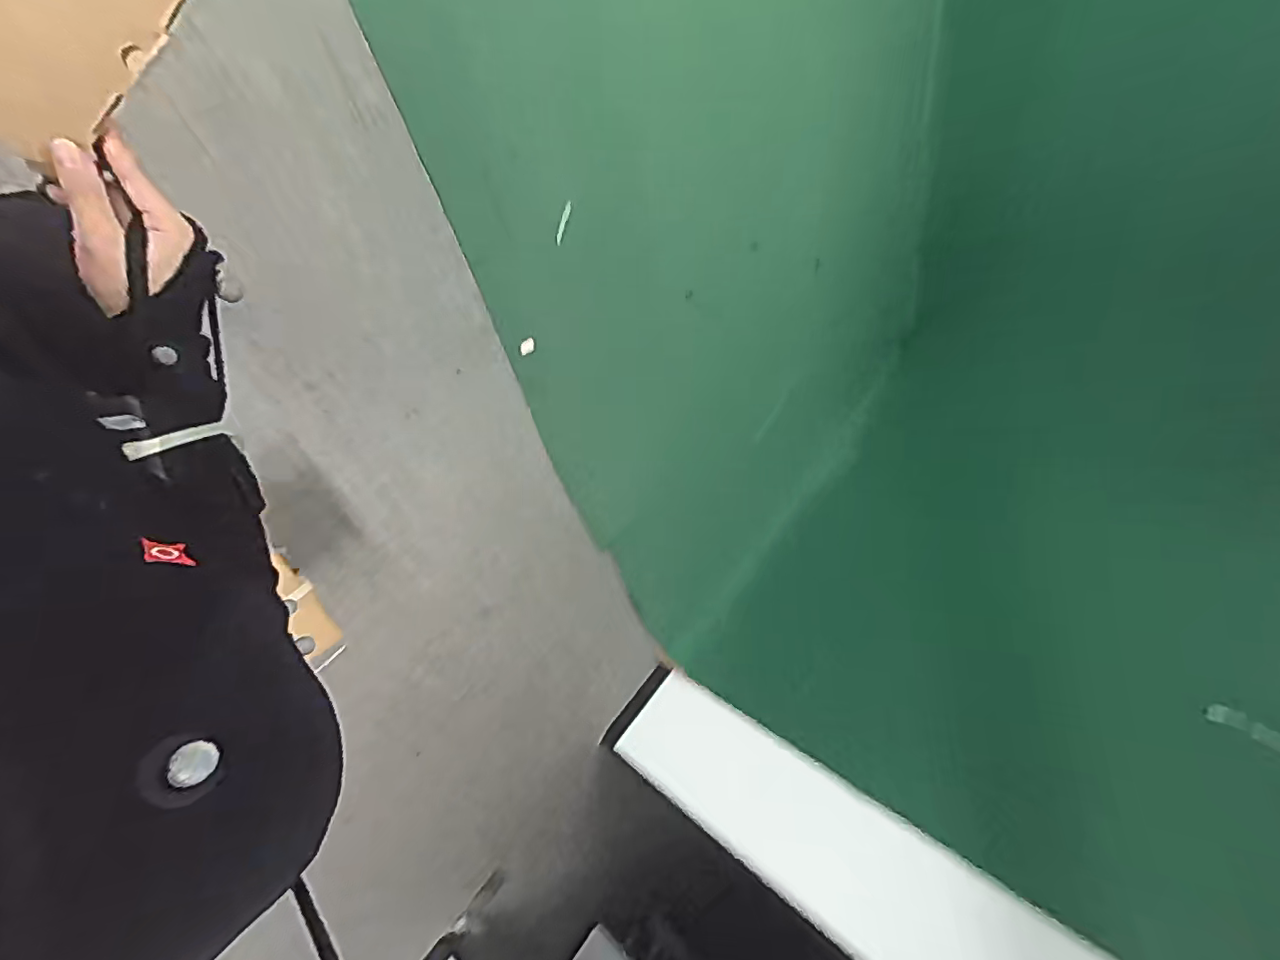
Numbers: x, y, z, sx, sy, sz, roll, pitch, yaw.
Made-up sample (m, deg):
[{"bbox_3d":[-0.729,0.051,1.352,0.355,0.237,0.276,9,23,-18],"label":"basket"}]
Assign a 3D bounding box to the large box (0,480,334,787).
[{"bbox_3d":[-0.906,0.266,1.043,0.408,0.320,0.320,-38,133,-31],"label":"large box"}]
